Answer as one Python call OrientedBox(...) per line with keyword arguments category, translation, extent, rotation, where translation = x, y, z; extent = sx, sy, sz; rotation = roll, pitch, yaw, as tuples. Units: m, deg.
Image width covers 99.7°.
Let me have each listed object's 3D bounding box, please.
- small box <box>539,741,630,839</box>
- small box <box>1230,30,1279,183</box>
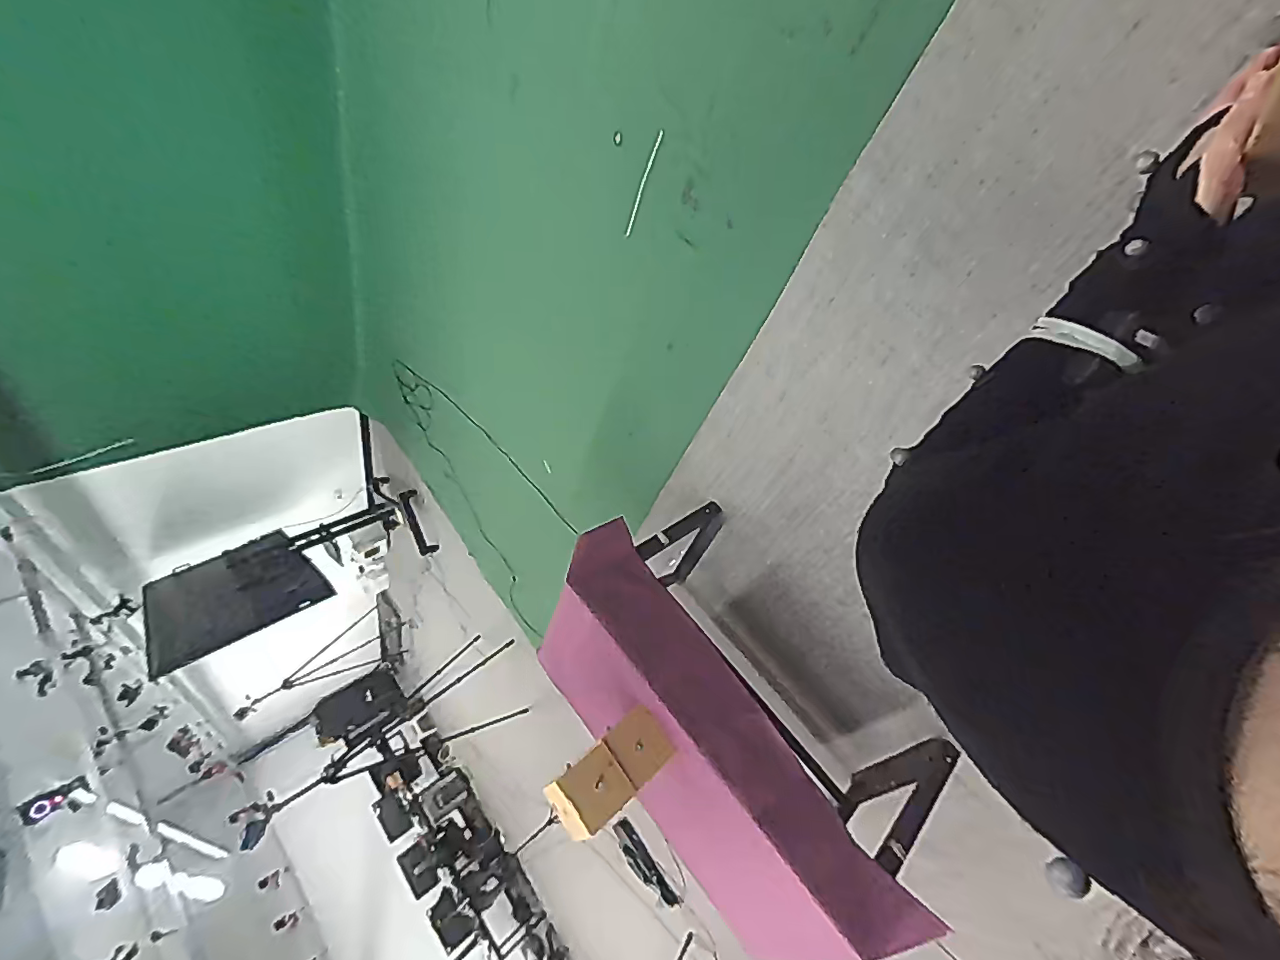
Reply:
OrientedBox(category="small box", translation=(-0.153, 0.863, 1.515), extent=(0.168, 0.176, 0.179), rotation=(51, 140, 16))
OrientedBox(category="small box", translation=(0.467, -0.272, 0.284), extent=(0.168, 0.176, 0.179), rotation=(23, 106, 36))
